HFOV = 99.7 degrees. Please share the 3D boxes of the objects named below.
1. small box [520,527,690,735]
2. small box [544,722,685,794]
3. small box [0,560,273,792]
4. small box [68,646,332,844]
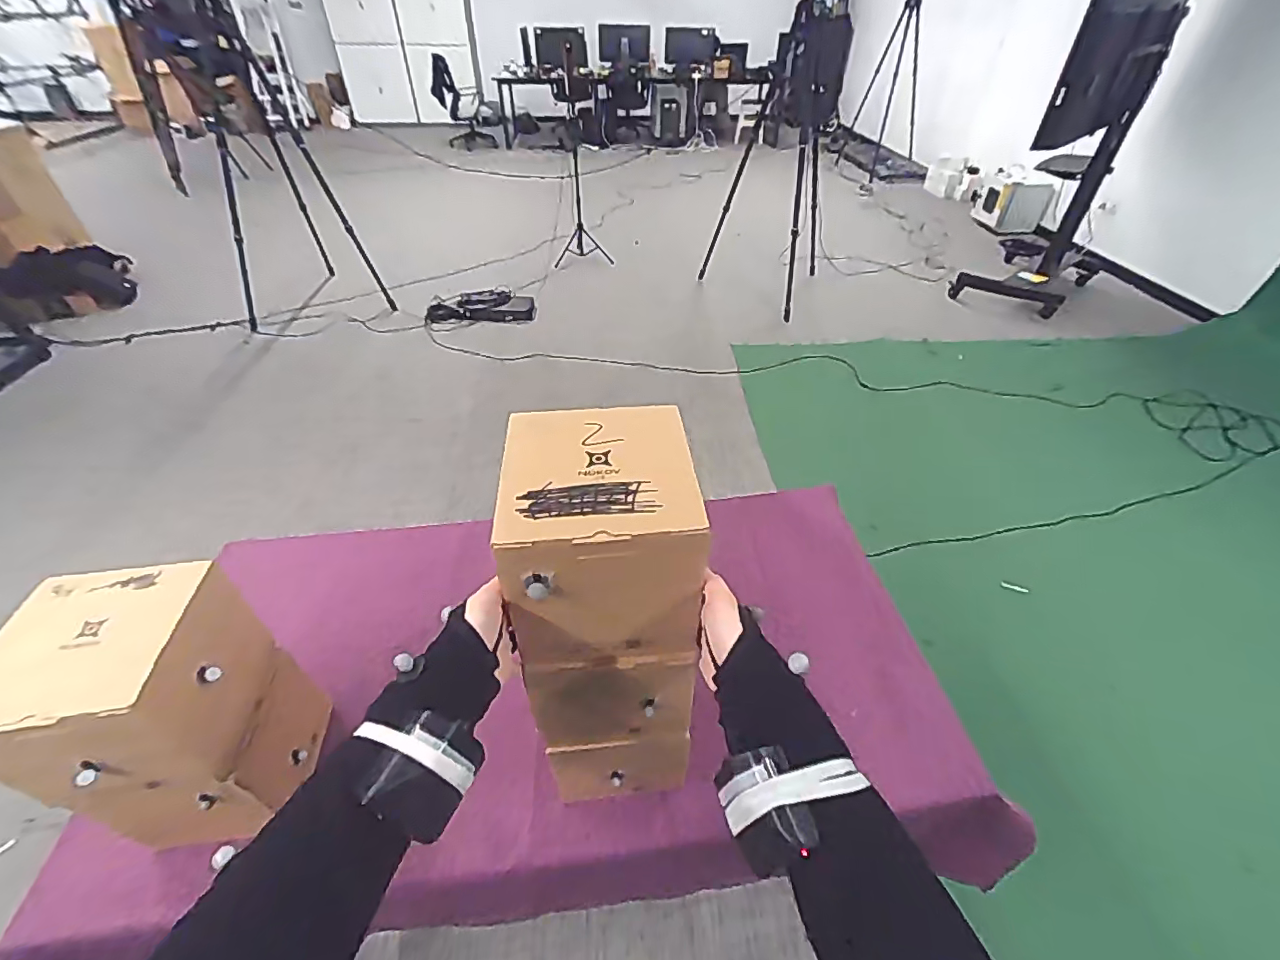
[{"bbox_3d":[-0.034,0.177,0.623,0.168,0.176,0.179,-3,41,-2],"label":"small box"},{"bbox_3d":[-0.033,0.302,0.729,0.168,0.176,0.179,-4,41,-4],"label":"small box"},{"bbox_3d":[-0.538,0.214,0.585,0.168,0.176,0.179,-5,42,-8],"label":"small box"},{"bbox_3d":[-0.534,0.339,0.692,0.179,0.176,0.168,-5,42,-7],"label":"small box"}]
